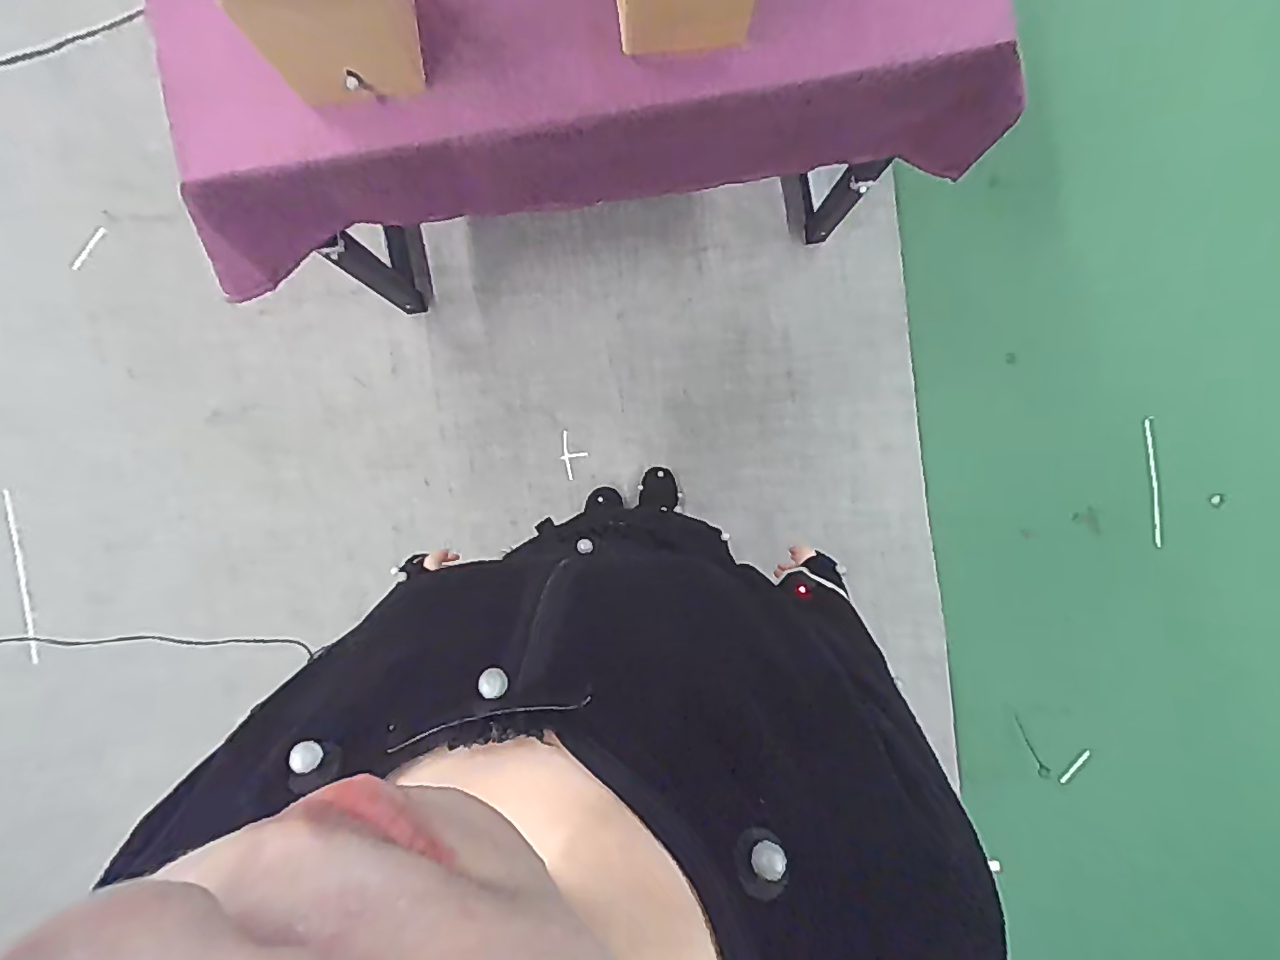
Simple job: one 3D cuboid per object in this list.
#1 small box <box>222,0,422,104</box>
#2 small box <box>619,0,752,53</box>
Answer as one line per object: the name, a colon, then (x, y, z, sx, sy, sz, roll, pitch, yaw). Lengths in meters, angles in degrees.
small box: (-0.392, -0.618, 0.683, 0.179, 0.176, 0.168, -8, 91, -1)
small box: (0.055, -0.689, 0.690, 0.179, 0.176, 0.168, -7, 91, -1)
